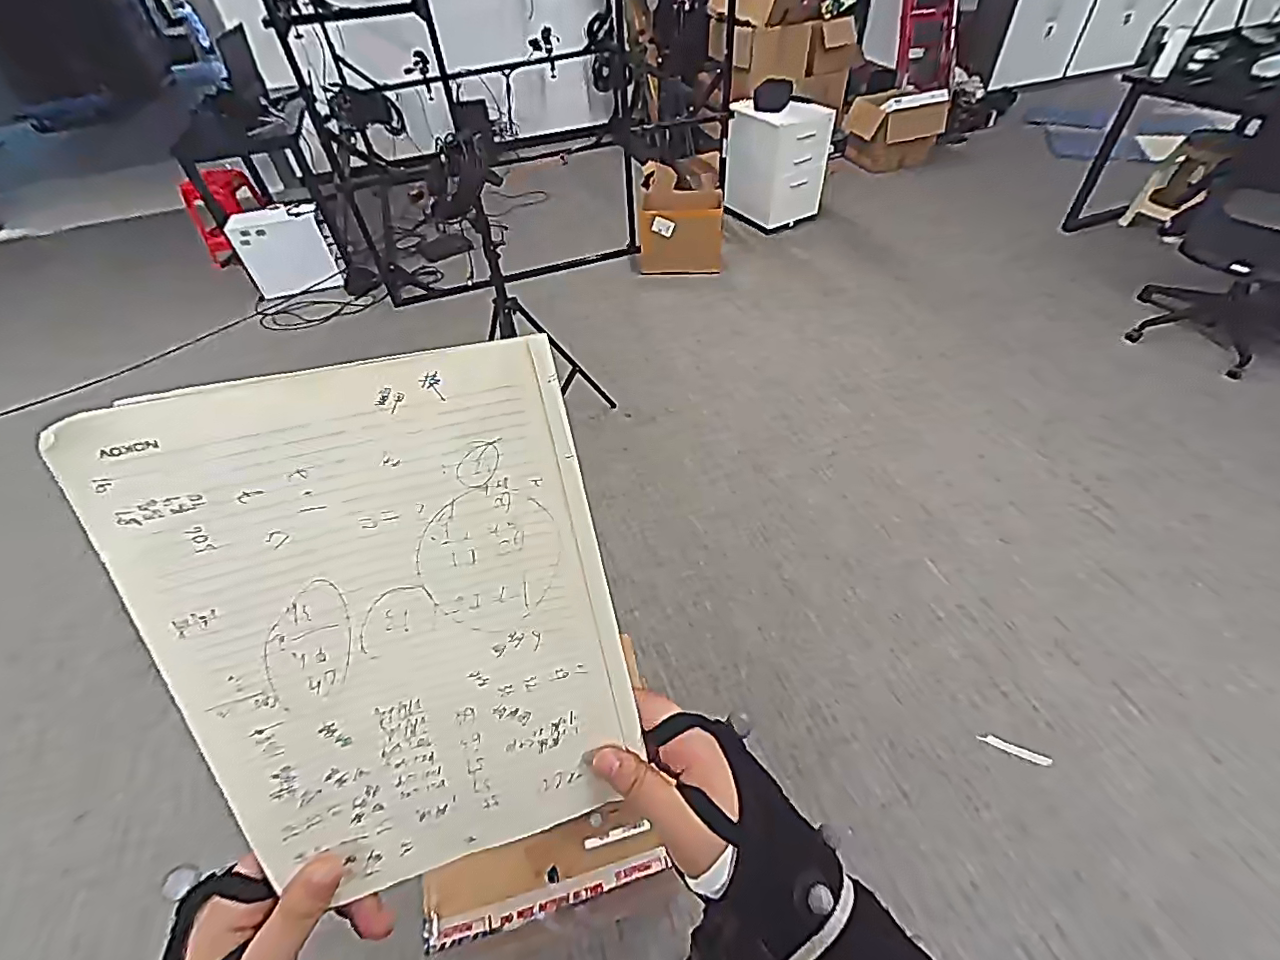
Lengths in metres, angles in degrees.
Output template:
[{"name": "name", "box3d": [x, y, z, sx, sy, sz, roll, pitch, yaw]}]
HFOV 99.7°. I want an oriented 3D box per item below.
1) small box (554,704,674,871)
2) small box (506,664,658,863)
[{"name": "small box", "box3d": [-0.057, 0.479, 0.843, 0.179, 0.176, 0.168, -14, 49, -11]}, {"name": "small box", "box3d": [-0.078, 0.375, 0.716, 0.168, 0.176, 0.179, -10, 50, -9]}]
